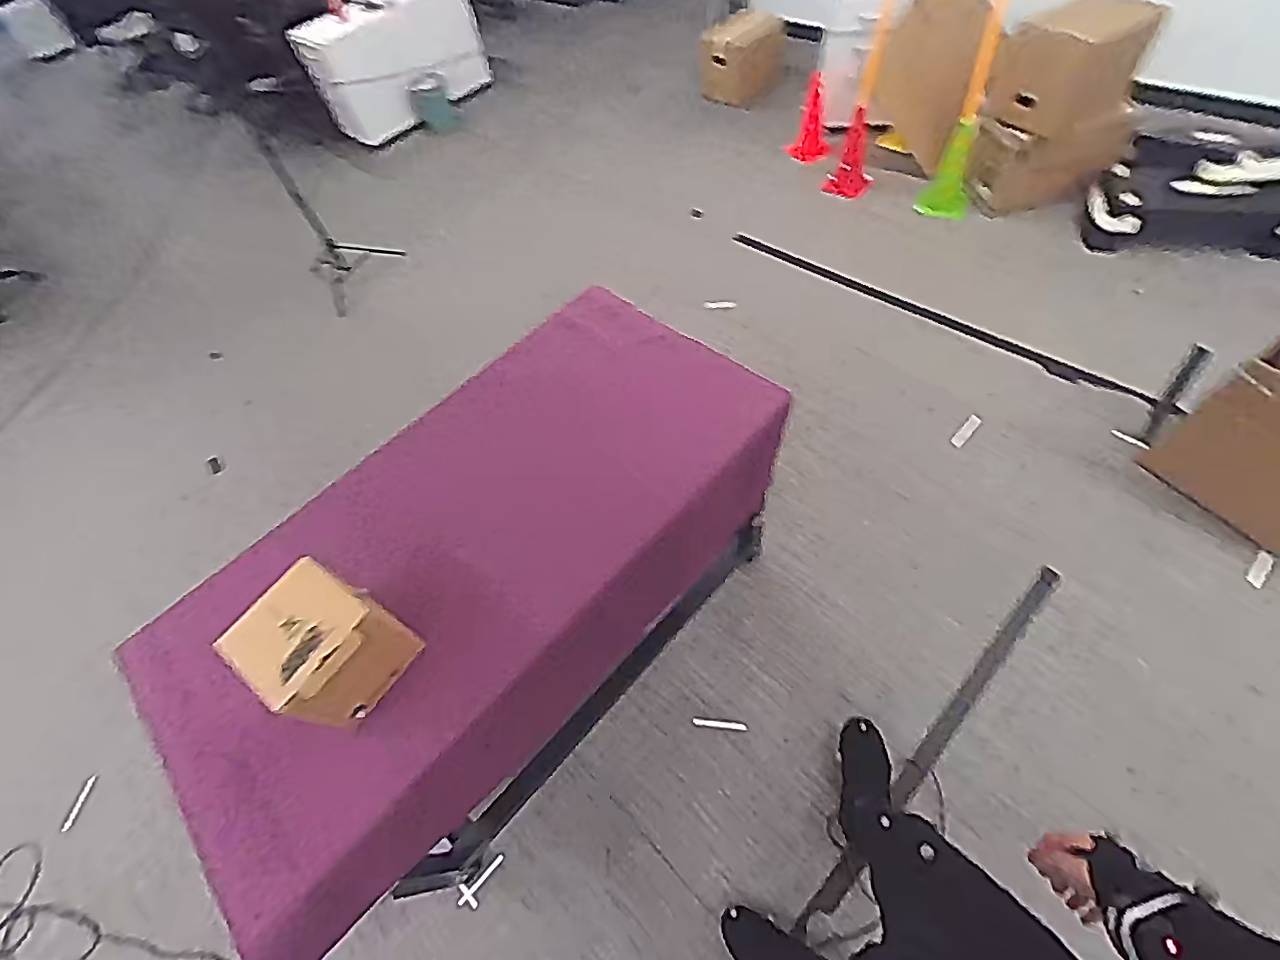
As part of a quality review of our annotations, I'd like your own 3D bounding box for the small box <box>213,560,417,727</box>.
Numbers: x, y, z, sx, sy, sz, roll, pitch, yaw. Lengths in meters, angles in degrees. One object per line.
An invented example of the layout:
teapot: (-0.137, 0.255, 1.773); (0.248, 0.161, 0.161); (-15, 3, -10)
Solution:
small box: (-0.487, 0.259, 0.837); (0.179, 0.176, 0.168); (26, 65, 24)
